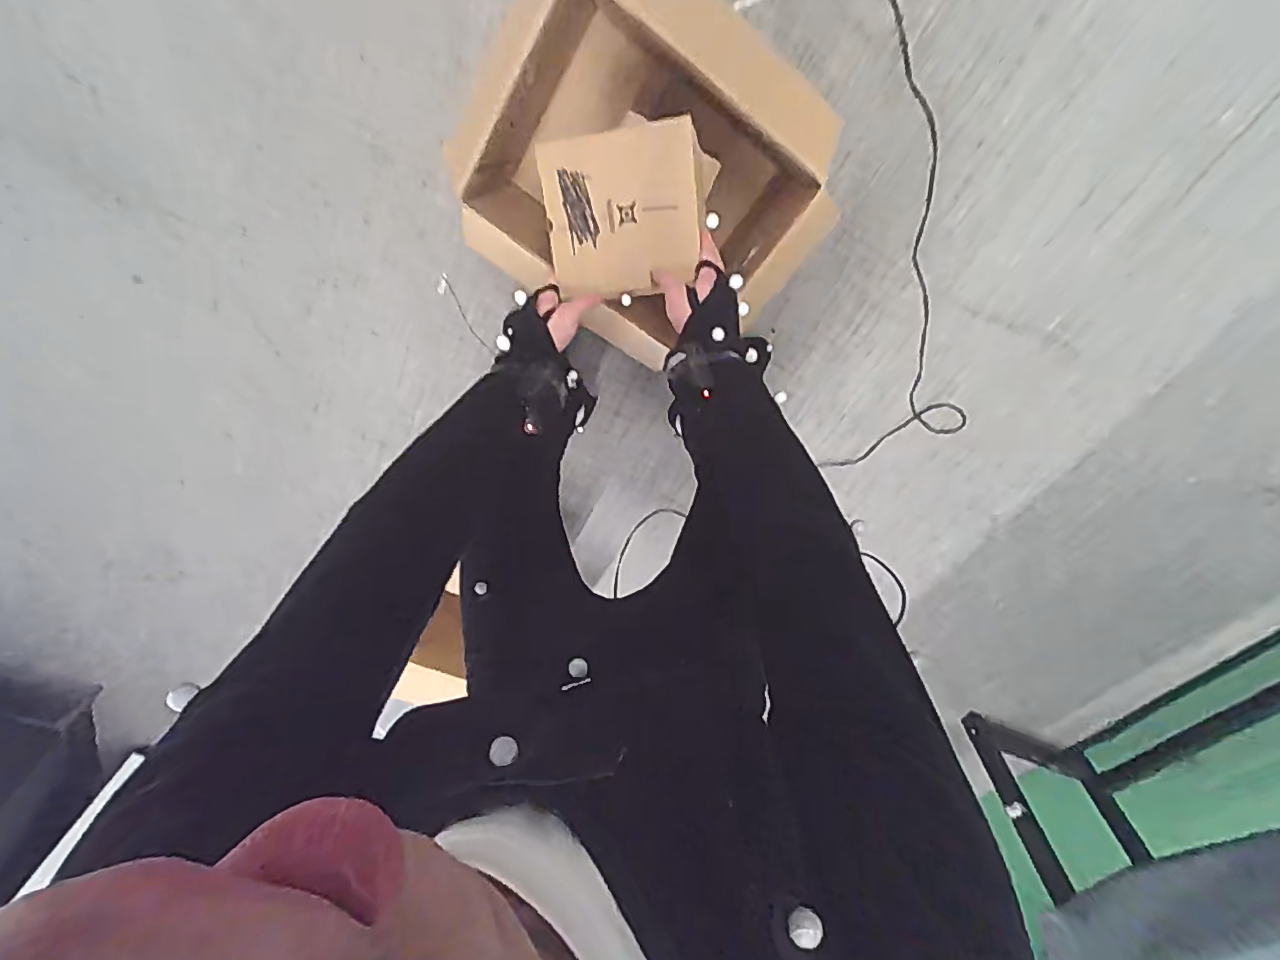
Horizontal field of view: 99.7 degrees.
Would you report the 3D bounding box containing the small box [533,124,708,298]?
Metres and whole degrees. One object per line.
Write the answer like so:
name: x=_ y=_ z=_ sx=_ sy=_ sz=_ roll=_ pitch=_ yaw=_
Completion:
small box: x=-0.012 y=-0.317 z=0.669 sx=0.179 sy=0.176 sz=0.168 roll=0 pitch=111 yaw=11
